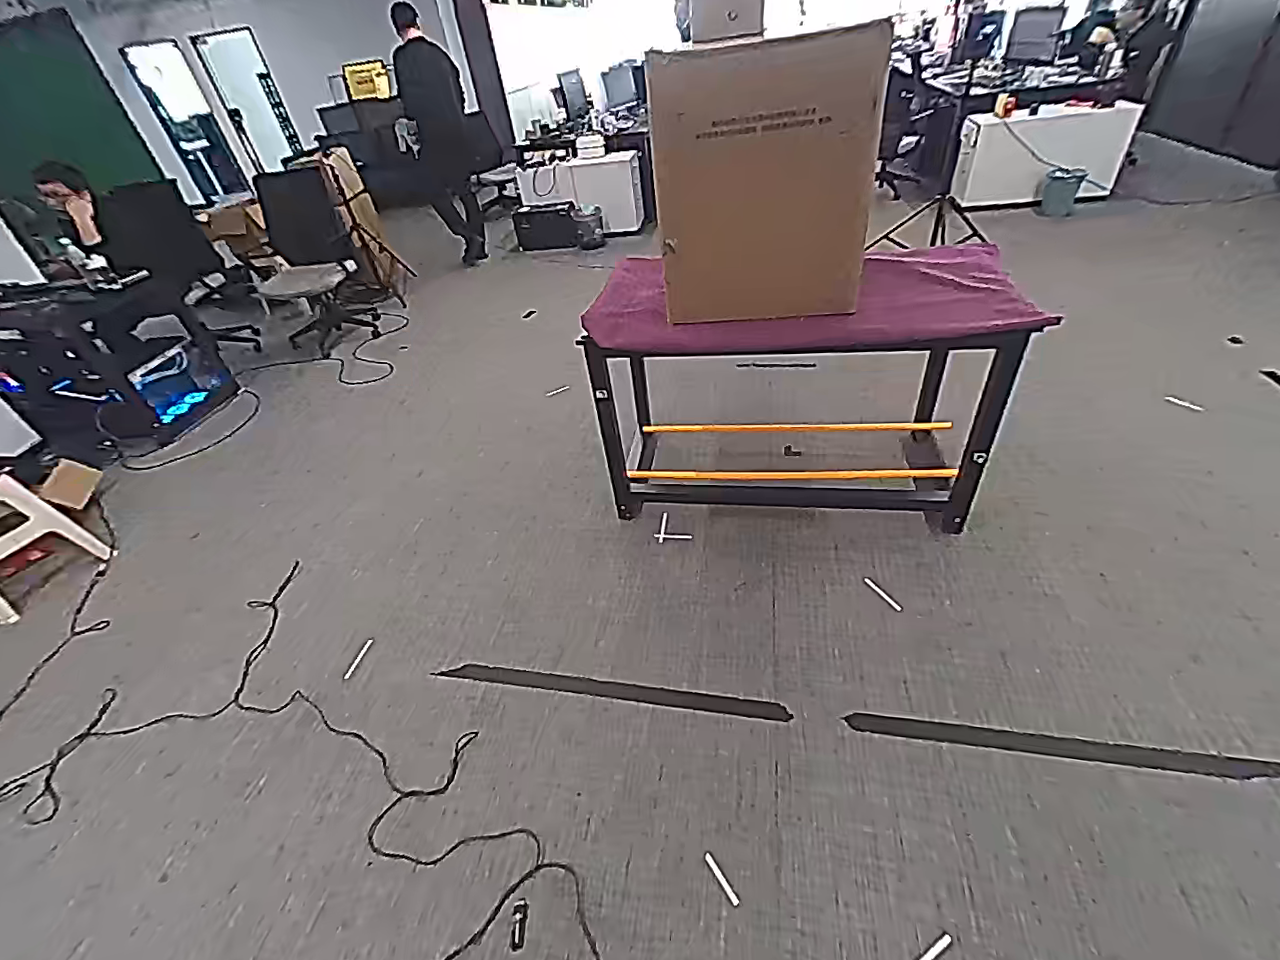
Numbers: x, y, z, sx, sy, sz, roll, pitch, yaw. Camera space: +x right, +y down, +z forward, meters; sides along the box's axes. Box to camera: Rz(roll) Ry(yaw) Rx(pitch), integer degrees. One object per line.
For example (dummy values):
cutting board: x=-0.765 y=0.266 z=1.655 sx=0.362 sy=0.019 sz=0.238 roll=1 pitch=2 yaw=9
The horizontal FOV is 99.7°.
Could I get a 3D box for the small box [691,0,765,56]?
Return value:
small box: x=0.214 y=-1.159 z=1.322 sx=0.179 sy=0.176 sz=0.168 roll=-1 pitch=40 yaw=8
